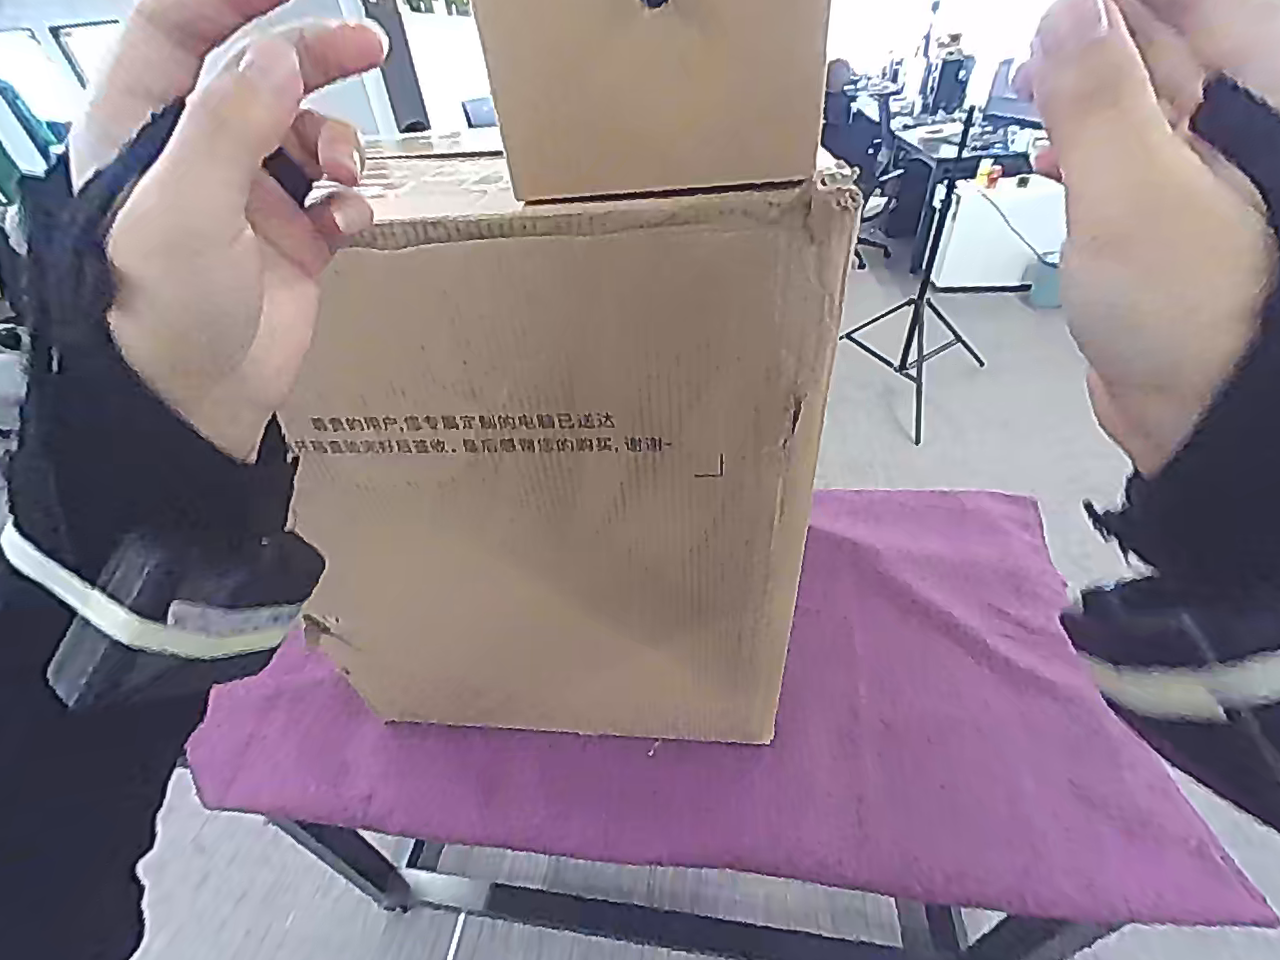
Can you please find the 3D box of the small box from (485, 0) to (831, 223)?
[{"bbox_3d":[0.016,-0.265,0.312,0.168,0.176,0.179,2,40,10],"label":"small box"}]
